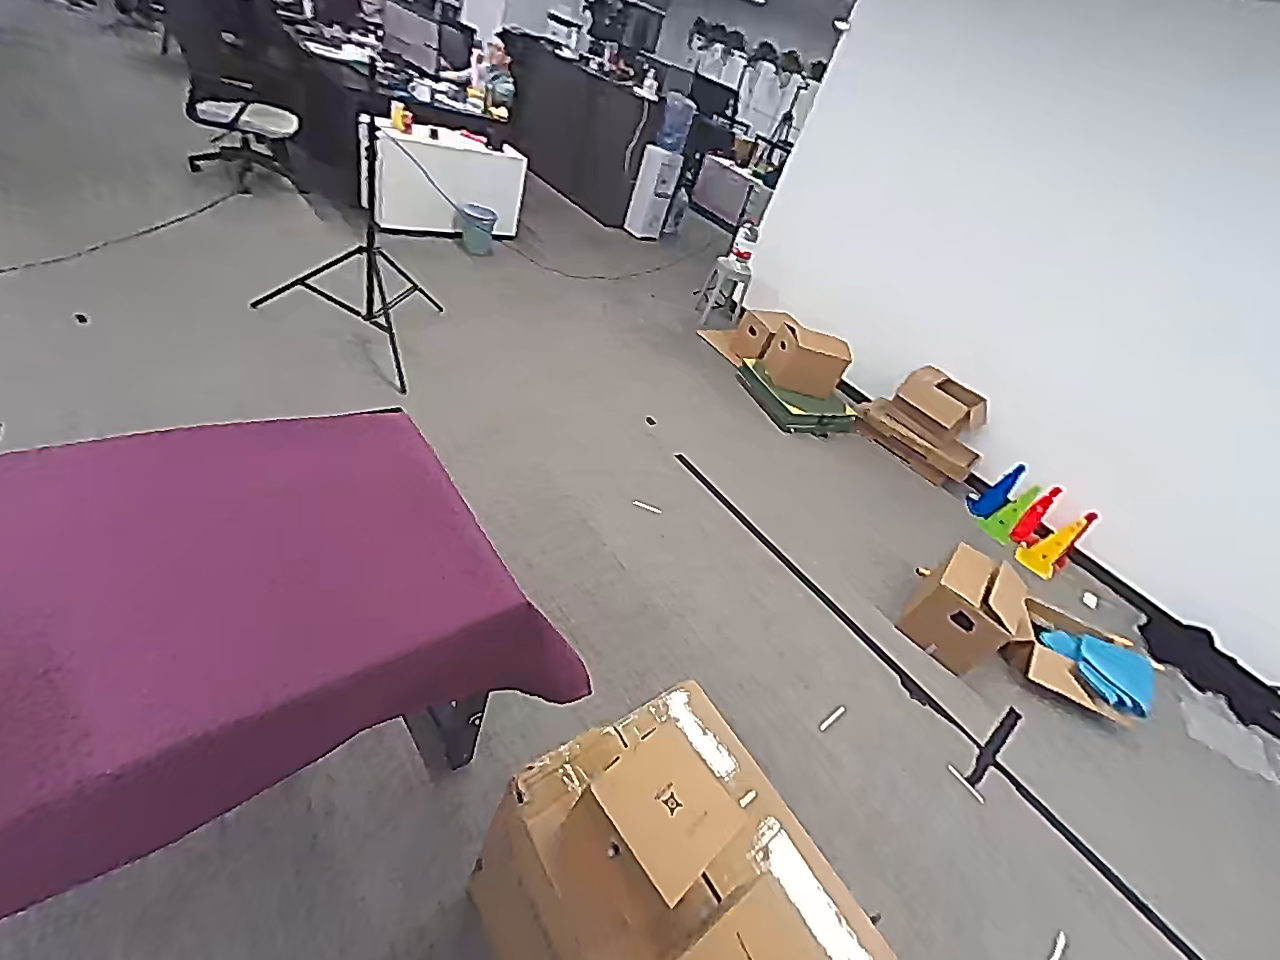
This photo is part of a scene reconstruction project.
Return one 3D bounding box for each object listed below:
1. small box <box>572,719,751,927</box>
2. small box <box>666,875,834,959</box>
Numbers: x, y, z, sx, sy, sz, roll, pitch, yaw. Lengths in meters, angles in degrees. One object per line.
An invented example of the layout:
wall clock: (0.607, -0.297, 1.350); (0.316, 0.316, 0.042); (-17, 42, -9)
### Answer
small box: (0.022, 0.500, 0.792); (0.168, 0.176, 0.179); (-21, 56, -39)
small box: (0.144, 0.635, 0.663); (0.168, 0.176, 0.179); (-24, 54, -28)
